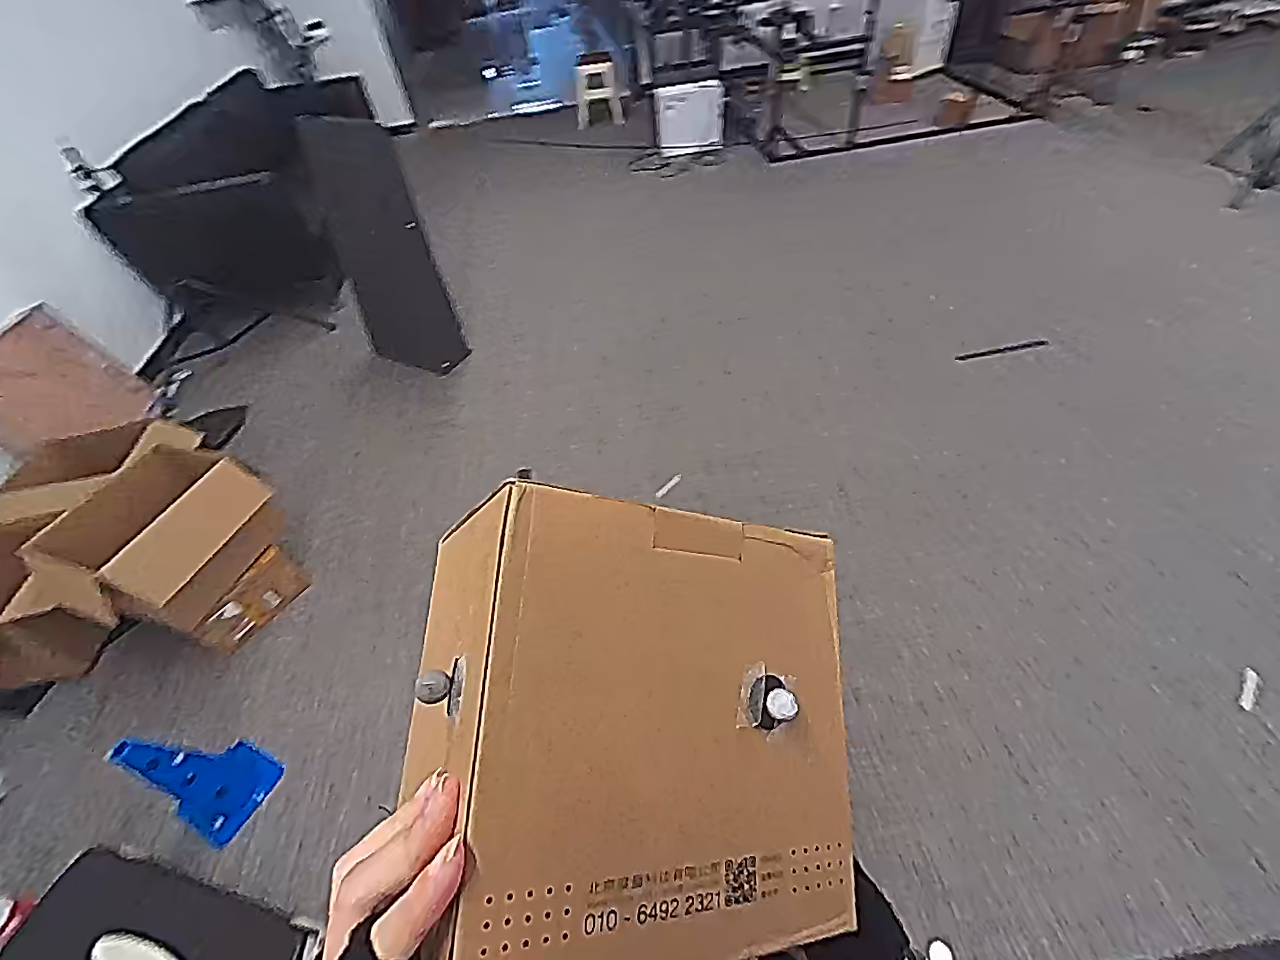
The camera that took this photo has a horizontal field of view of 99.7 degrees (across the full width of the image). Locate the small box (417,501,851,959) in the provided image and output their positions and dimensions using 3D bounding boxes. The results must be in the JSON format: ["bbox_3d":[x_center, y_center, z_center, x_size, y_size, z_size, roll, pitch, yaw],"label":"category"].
[{"bbox_3d":[-0.011,0.119,0.283,0.168,0.179,0.176,12,71,-25],"label":"small box"}]
